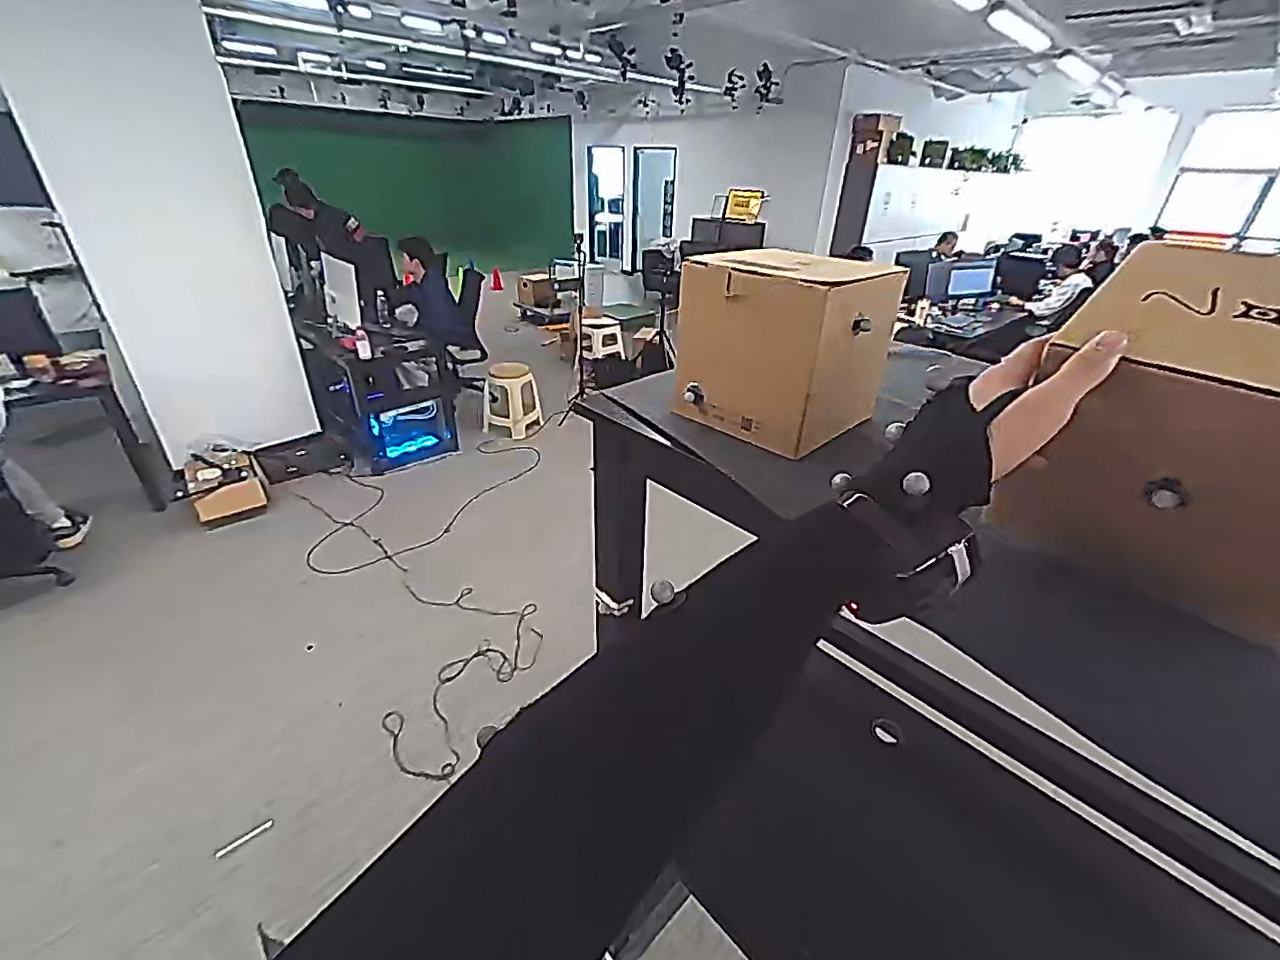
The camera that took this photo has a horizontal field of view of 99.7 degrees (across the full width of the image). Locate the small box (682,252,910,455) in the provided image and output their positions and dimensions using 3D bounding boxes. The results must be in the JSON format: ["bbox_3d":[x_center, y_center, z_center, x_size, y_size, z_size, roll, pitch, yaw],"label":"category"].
[{"bbox_3d":[0.159,-0.144,0.589,0.168,0.176,0.179,28,38,36],"label":"small box"}]
